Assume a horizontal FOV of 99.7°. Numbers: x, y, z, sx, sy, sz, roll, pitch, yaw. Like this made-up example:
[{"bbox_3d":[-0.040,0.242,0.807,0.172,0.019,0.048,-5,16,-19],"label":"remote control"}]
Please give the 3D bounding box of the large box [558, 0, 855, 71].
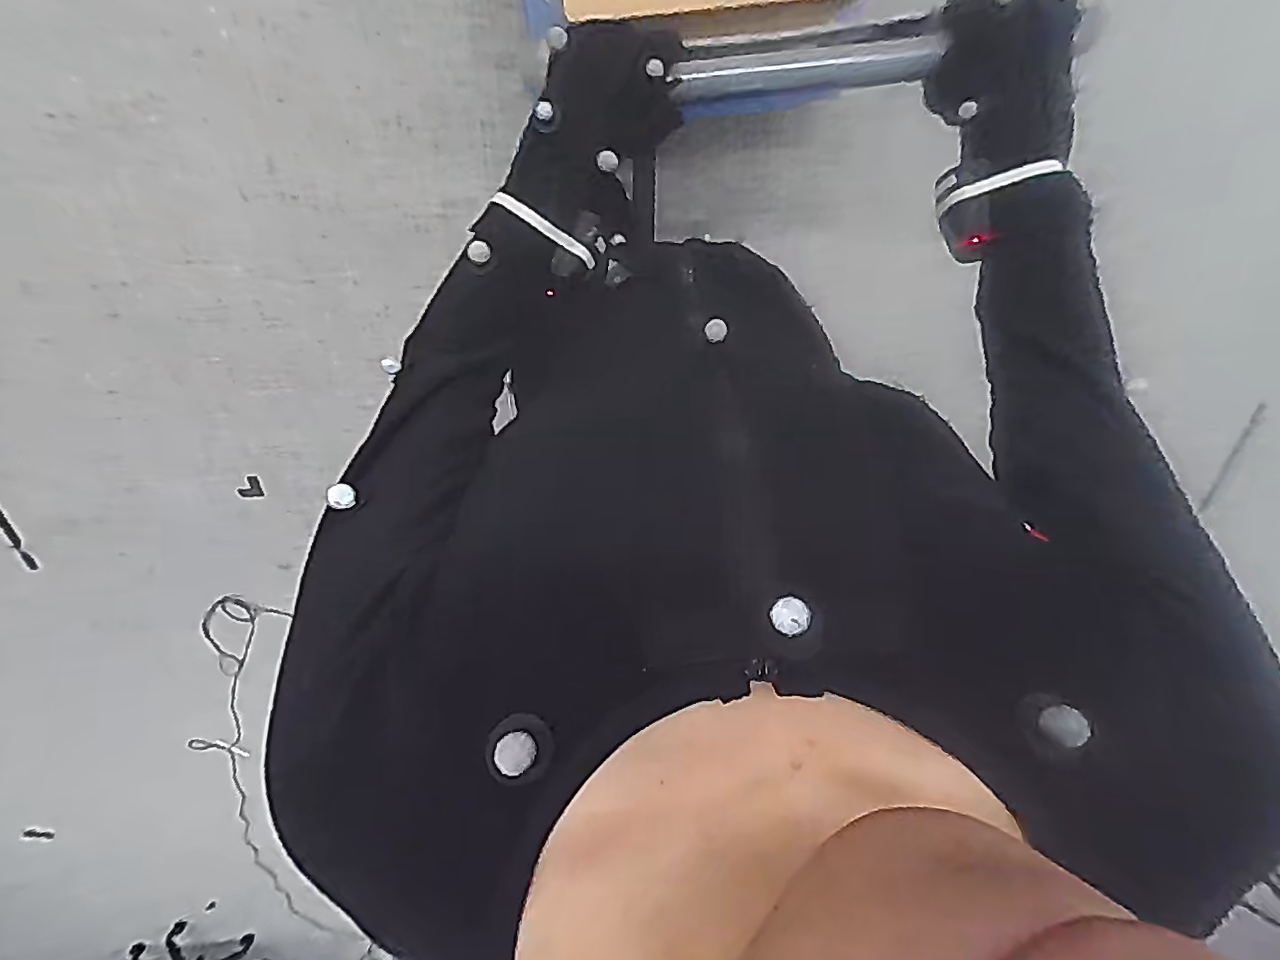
[{"bbox_3d":[0.068,-0.806,0.755,0.408,0.320,0.320,-7,121,-1],"label":"large box"}]
